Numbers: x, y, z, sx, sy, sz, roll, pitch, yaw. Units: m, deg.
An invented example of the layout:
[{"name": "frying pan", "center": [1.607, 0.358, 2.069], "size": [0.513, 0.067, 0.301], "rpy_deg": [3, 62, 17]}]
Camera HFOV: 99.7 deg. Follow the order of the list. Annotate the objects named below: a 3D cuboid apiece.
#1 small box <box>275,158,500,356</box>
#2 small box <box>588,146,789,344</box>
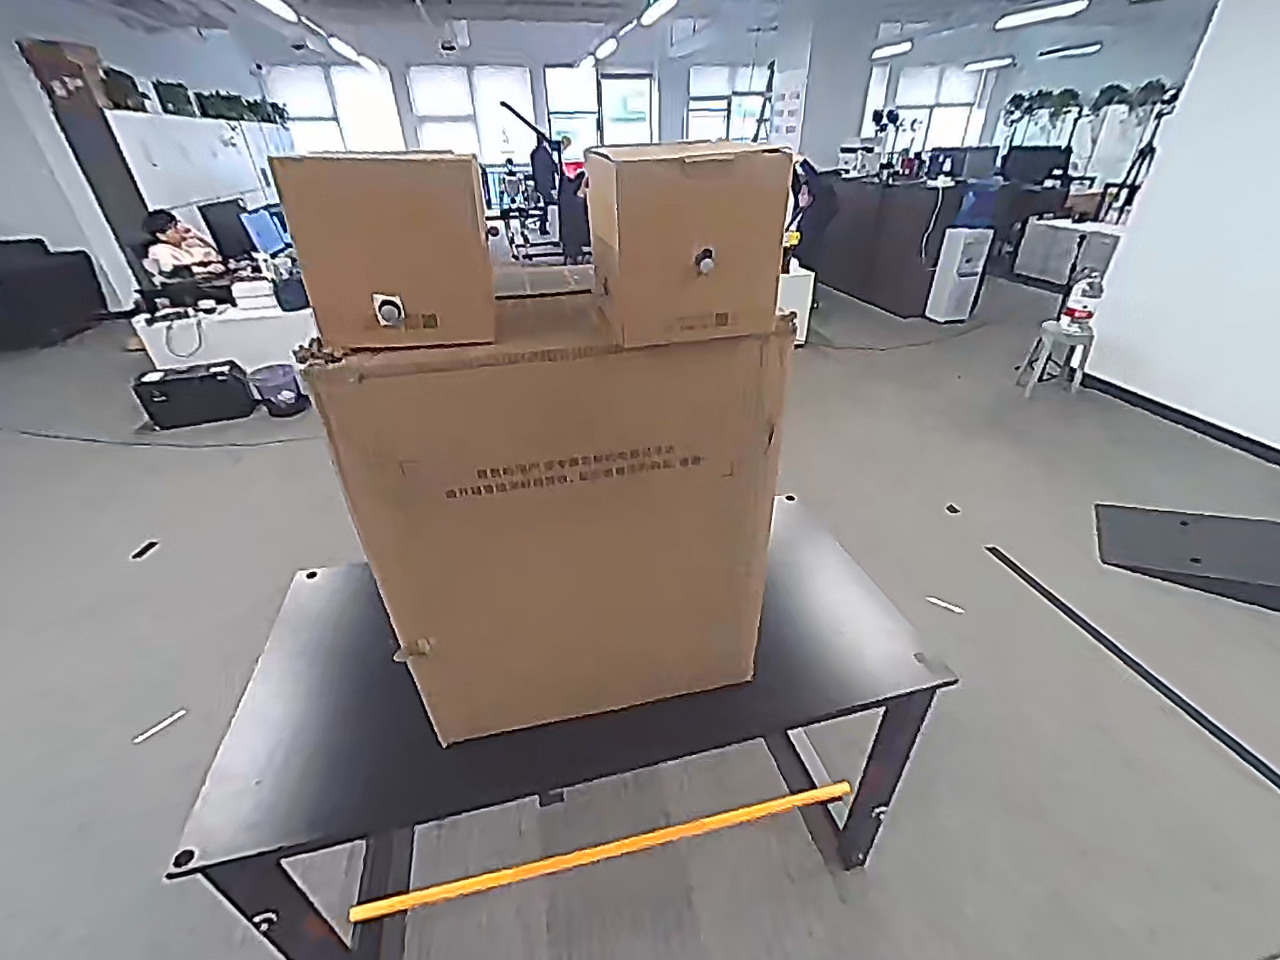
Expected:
[{"name": "small box", "center": [-0.244, -0.240, 0.573], "size": [0.168, 0.176, 0.179], "rpy_deg": [-7, 33, -11]}, {"name": "small box", "center": [0.043, -0.252, 0.584], "size": [0.168, 0.176, 0.179], "rpy_deg": [-9, 35, -10]}]
